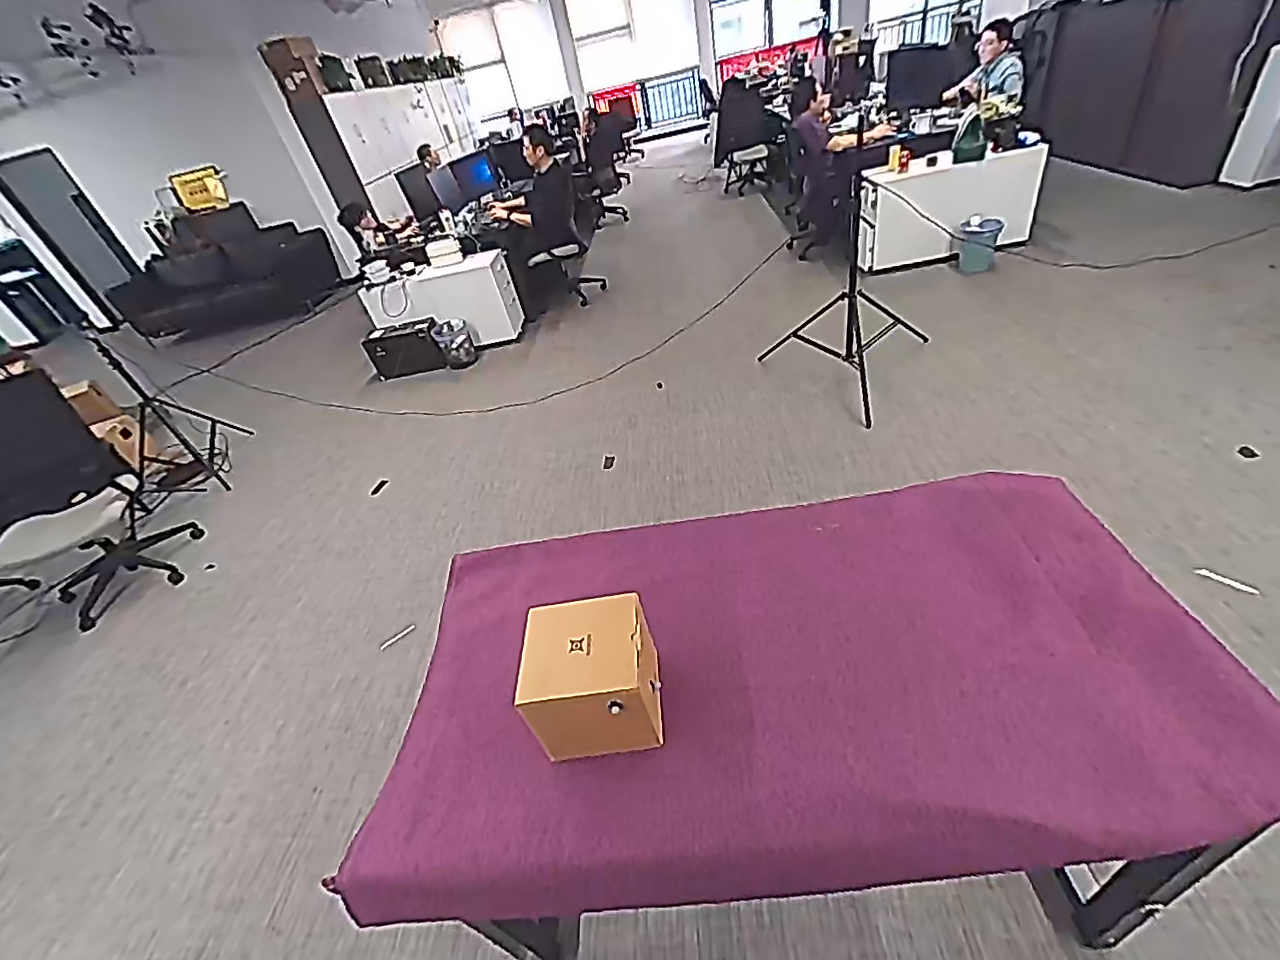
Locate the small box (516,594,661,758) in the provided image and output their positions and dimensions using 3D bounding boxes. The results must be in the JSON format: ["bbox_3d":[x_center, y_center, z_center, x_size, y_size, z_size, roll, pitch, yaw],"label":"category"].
[{"bbox_3d":[-0.071,0.304,0.832,0.179,0.176,0.168,-10,37,5],"label":"small box"}]
